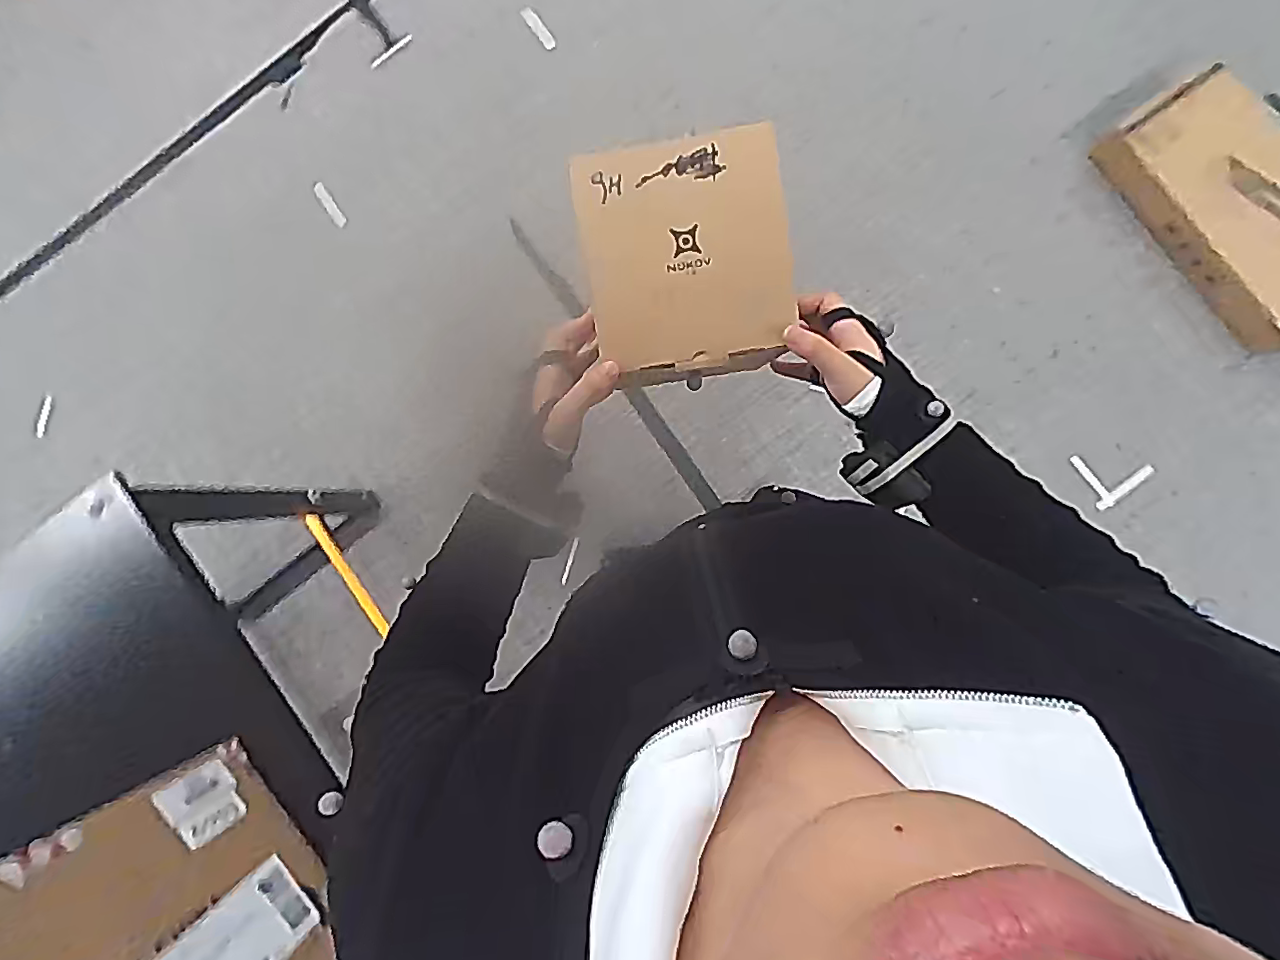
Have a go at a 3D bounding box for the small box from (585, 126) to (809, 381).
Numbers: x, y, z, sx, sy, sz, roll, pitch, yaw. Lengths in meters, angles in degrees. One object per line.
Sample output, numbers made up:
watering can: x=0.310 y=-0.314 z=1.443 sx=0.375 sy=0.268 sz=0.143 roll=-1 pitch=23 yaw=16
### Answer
small box: x=0.051 y=-0.192 z=0.515 sx=0.168 sy=0.176 sz=0.179 roll=-8 pitch=96 yaw=2
